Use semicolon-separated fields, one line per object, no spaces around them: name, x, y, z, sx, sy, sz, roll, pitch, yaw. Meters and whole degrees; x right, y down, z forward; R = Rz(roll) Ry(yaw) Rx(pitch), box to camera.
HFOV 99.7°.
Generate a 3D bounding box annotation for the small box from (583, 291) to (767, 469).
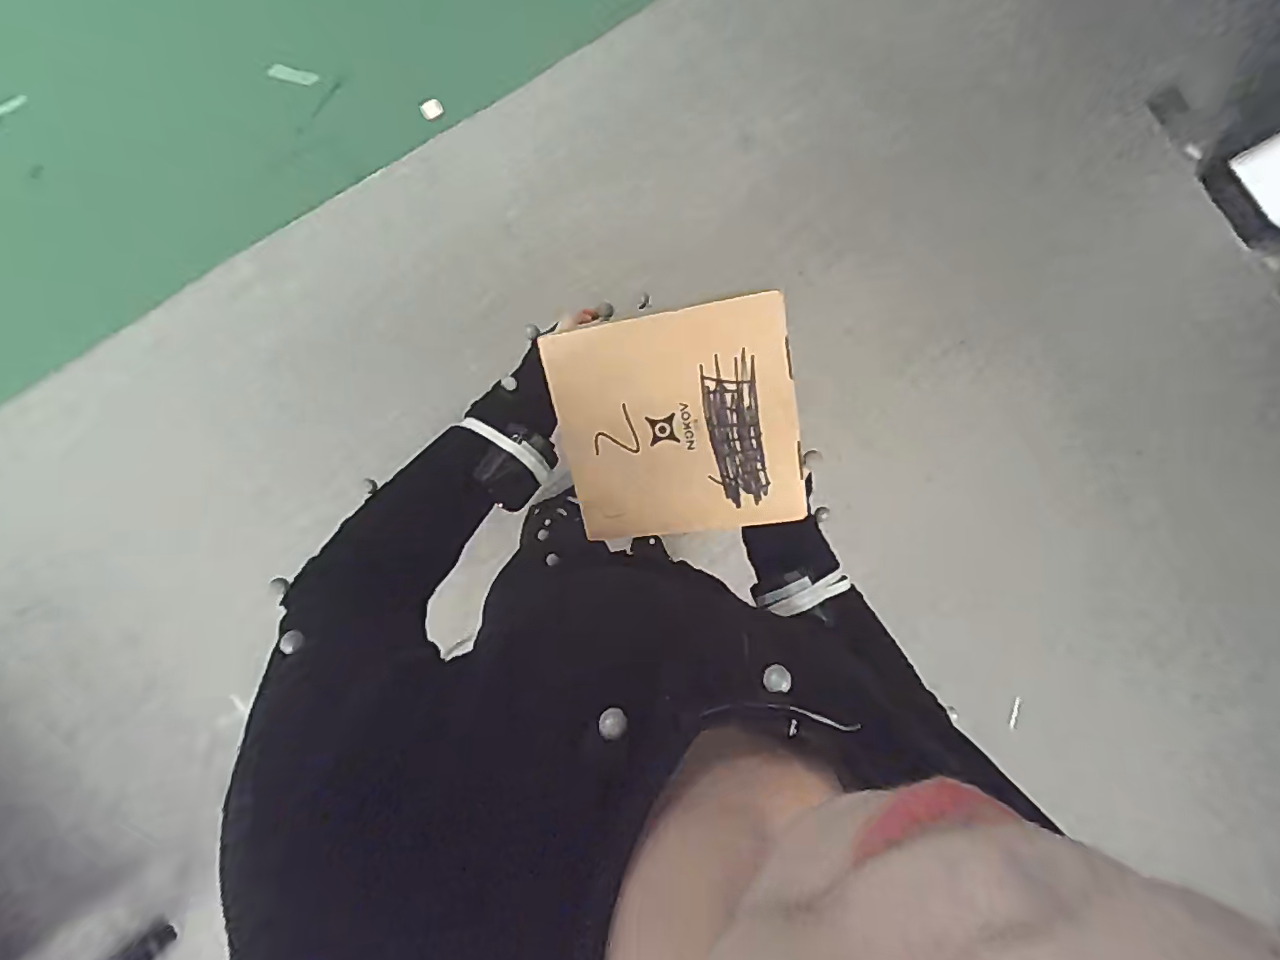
small box;0.051;-0.120;0.623;0.179;0.176;0.168;-5;110;12
